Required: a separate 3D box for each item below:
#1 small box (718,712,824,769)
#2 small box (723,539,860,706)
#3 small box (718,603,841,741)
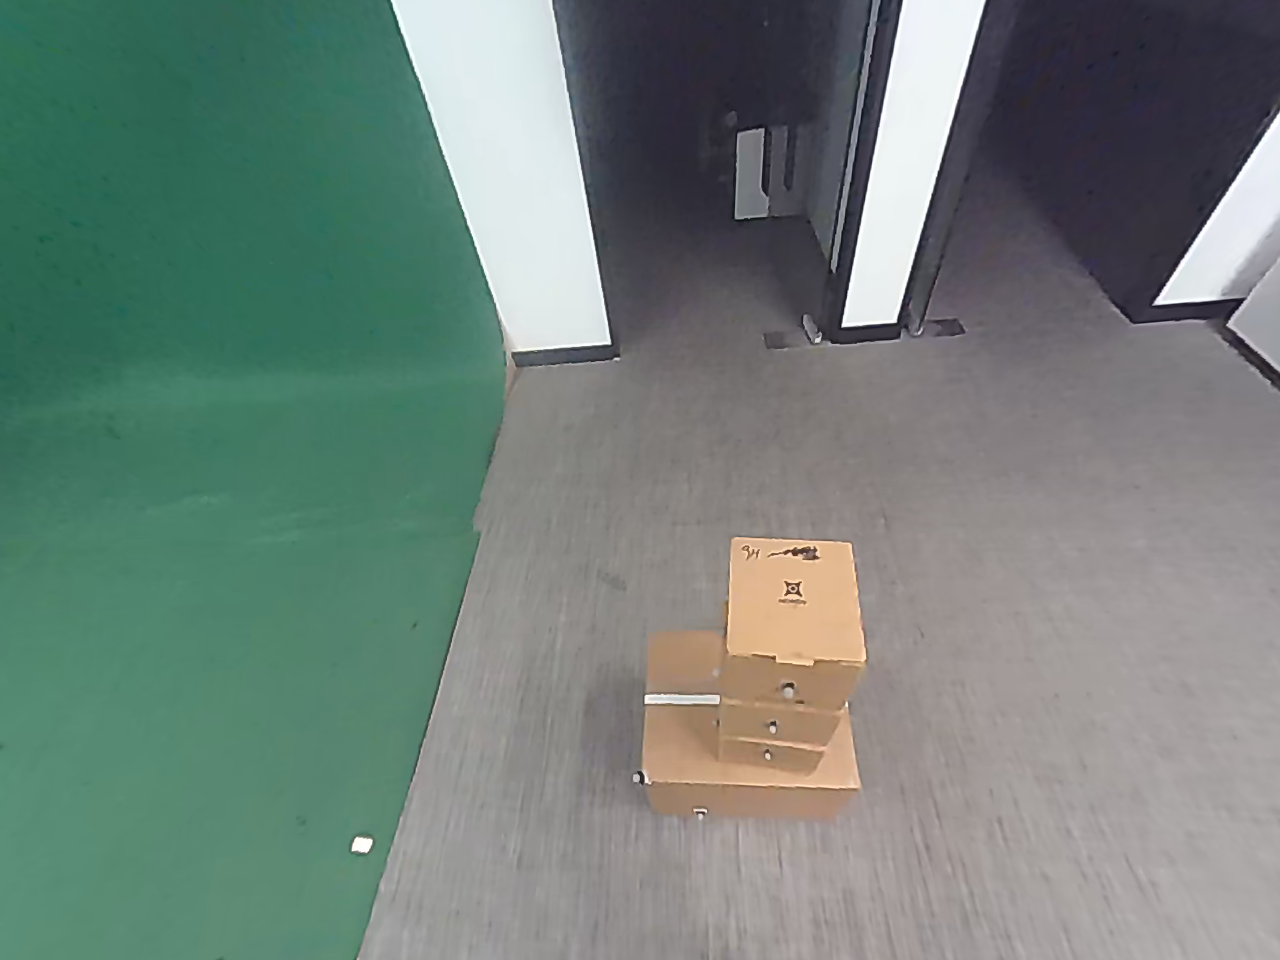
[{"bbox_3d":[0.238,0.425,1.011,0.179,0.176,0.168,4,52,10],"label":"small box"},{"bbox_3d":[0.207,0.205,0.770,0.168,0.176,0.179,2,52,11],"label":"small box"},{"bbox_3d":[0.222,0.317,0.889,0.179,0.176,0.168,1,51,12],"label":"small box"}]
